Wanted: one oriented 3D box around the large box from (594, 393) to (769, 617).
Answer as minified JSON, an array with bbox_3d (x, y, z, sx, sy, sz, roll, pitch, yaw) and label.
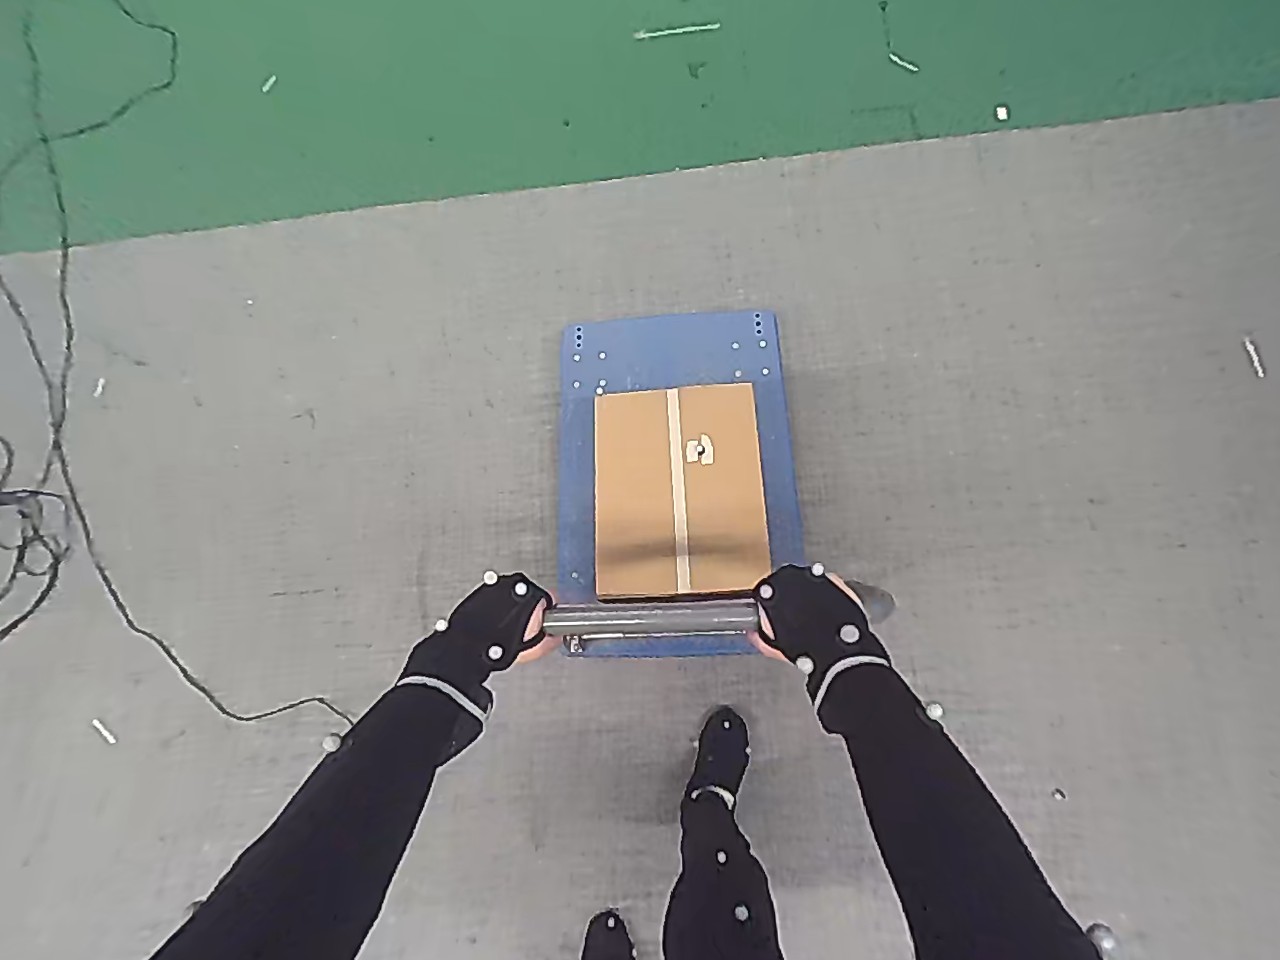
[{"bbox_3d":[0.085,0.072,1.164,0.320,0.320,0.408,-4,71,5],"label":"large box"}]
